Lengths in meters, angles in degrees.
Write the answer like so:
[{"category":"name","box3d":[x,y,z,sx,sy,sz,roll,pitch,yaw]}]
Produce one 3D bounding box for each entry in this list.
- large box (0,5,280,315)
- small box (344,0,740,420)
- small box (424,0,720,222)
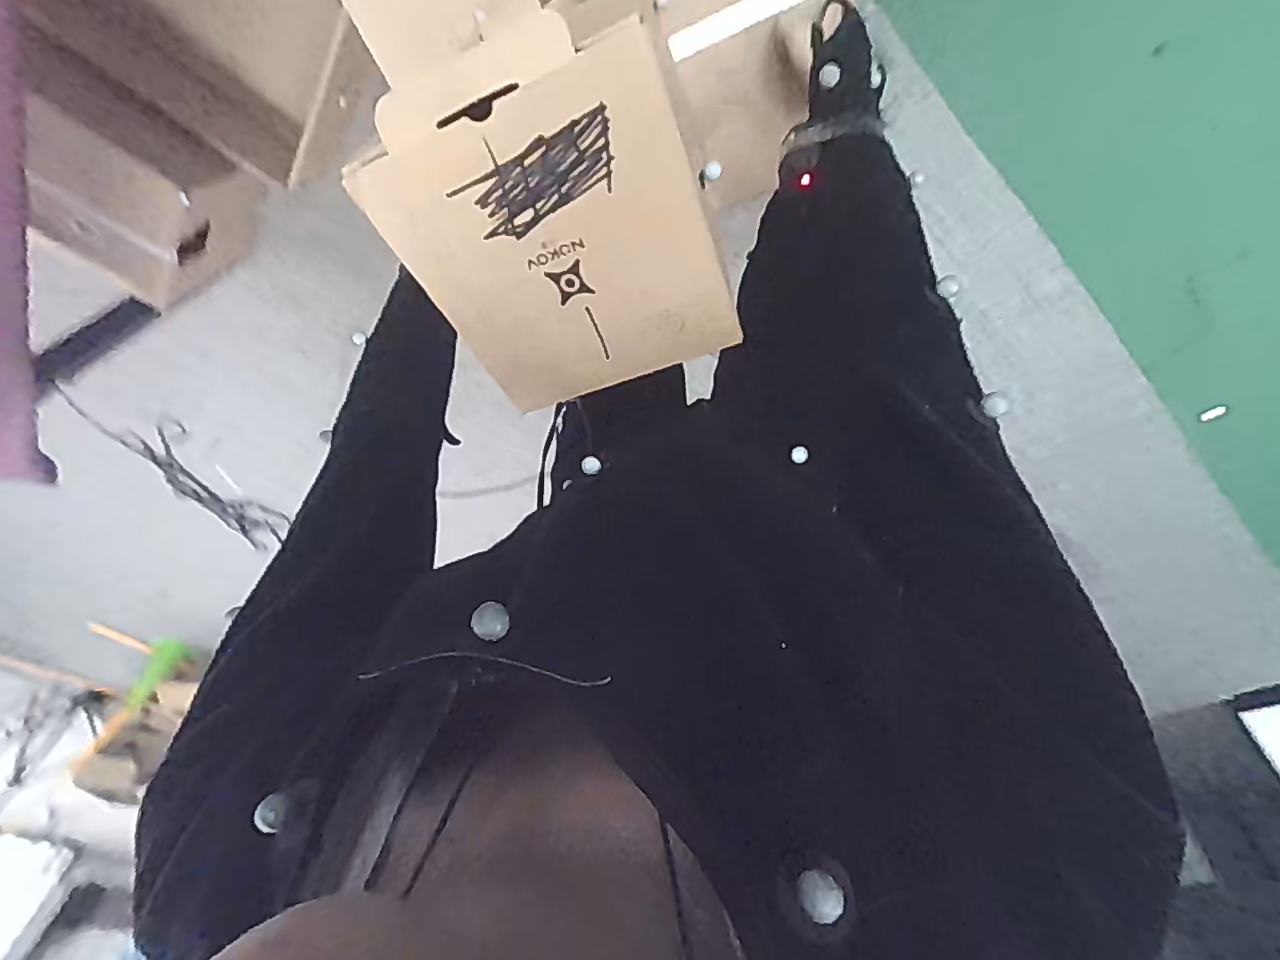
[{"category":"large box","box3d":[-1.032,-0.620,1.068,0.408,0.320,0.320,32,129,-24]},{"category":"small box","box3d":[-0.042,-0.174,0.355,0.168,0.176,0.179,-14,136,16]},{"category":"small box","box3d":[-0.044,-0.300,0.461,0.168,0.176,0.179,-18,134,19]}]
